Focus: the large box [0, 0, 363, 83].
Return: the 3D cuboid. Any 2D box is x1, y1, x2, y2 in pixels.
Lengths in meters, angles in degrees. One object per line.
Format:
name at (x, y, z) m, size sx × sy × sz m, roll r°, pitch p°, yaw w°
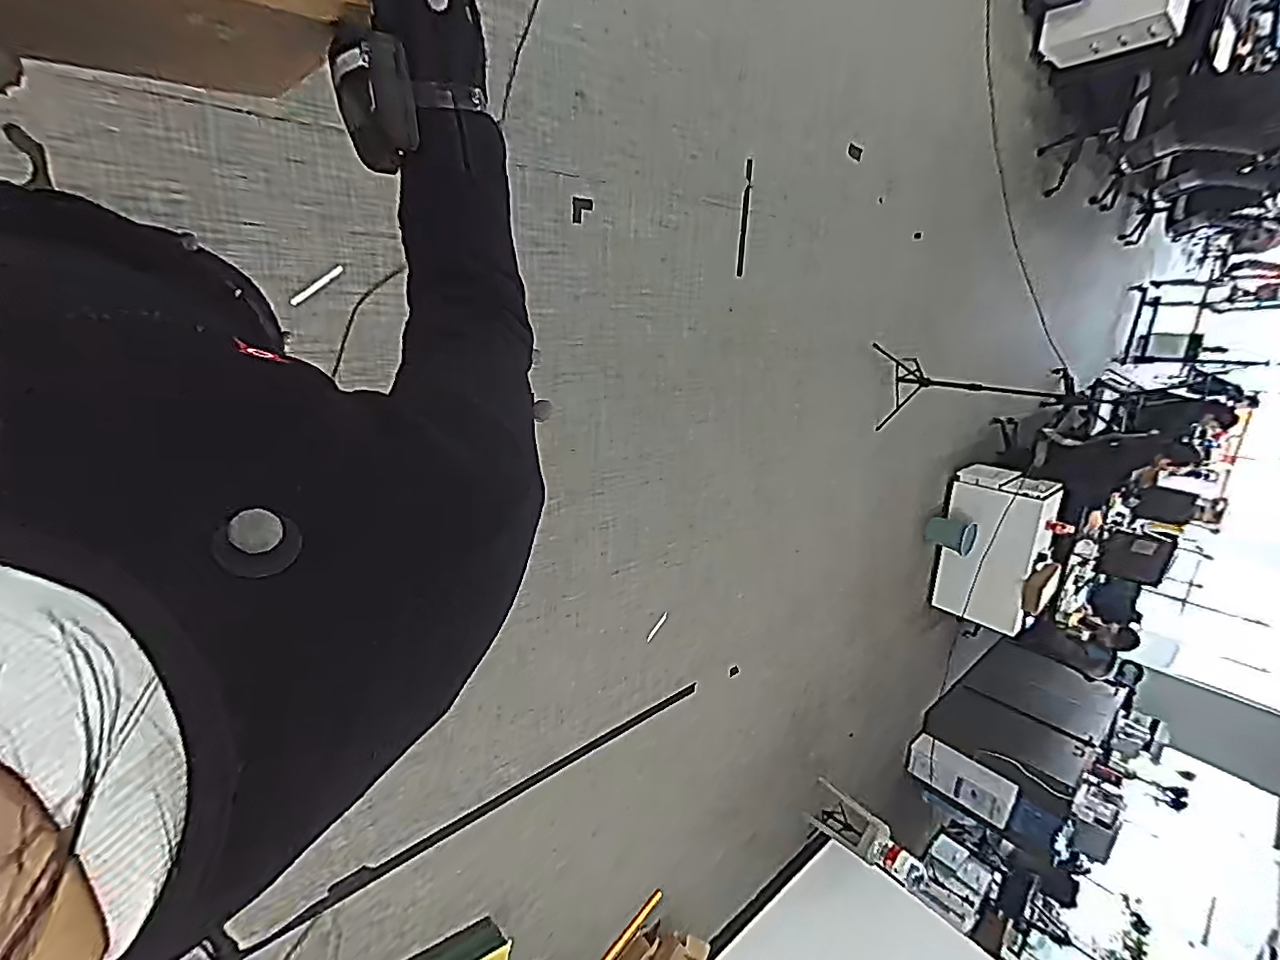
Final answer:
large box at (-0.408, -0.419, 0.244) m, size 0.408 × 0.320 × 0.320 m, roll -18°, pitch 124°, yaw -38°
